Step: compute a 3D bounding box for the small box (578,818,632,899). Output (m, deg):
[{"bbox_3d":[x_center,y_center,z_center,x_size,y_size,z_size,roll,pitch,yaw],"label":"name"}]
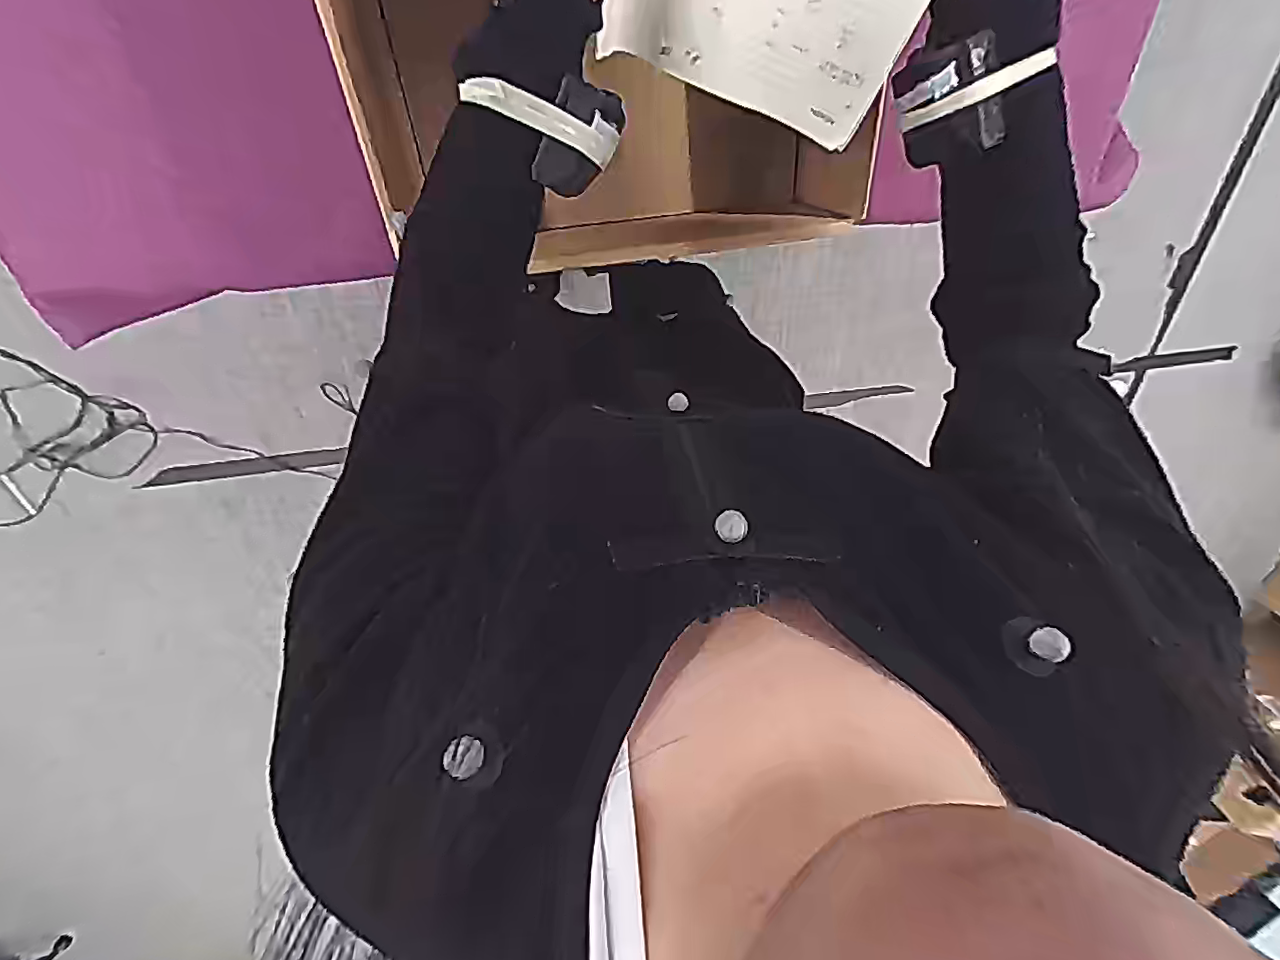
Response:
[{"bbox_3d":[-0.126,1.320,1.891,0.179,0.176,0.168,-6,126,-9],"label":"small box"}]
